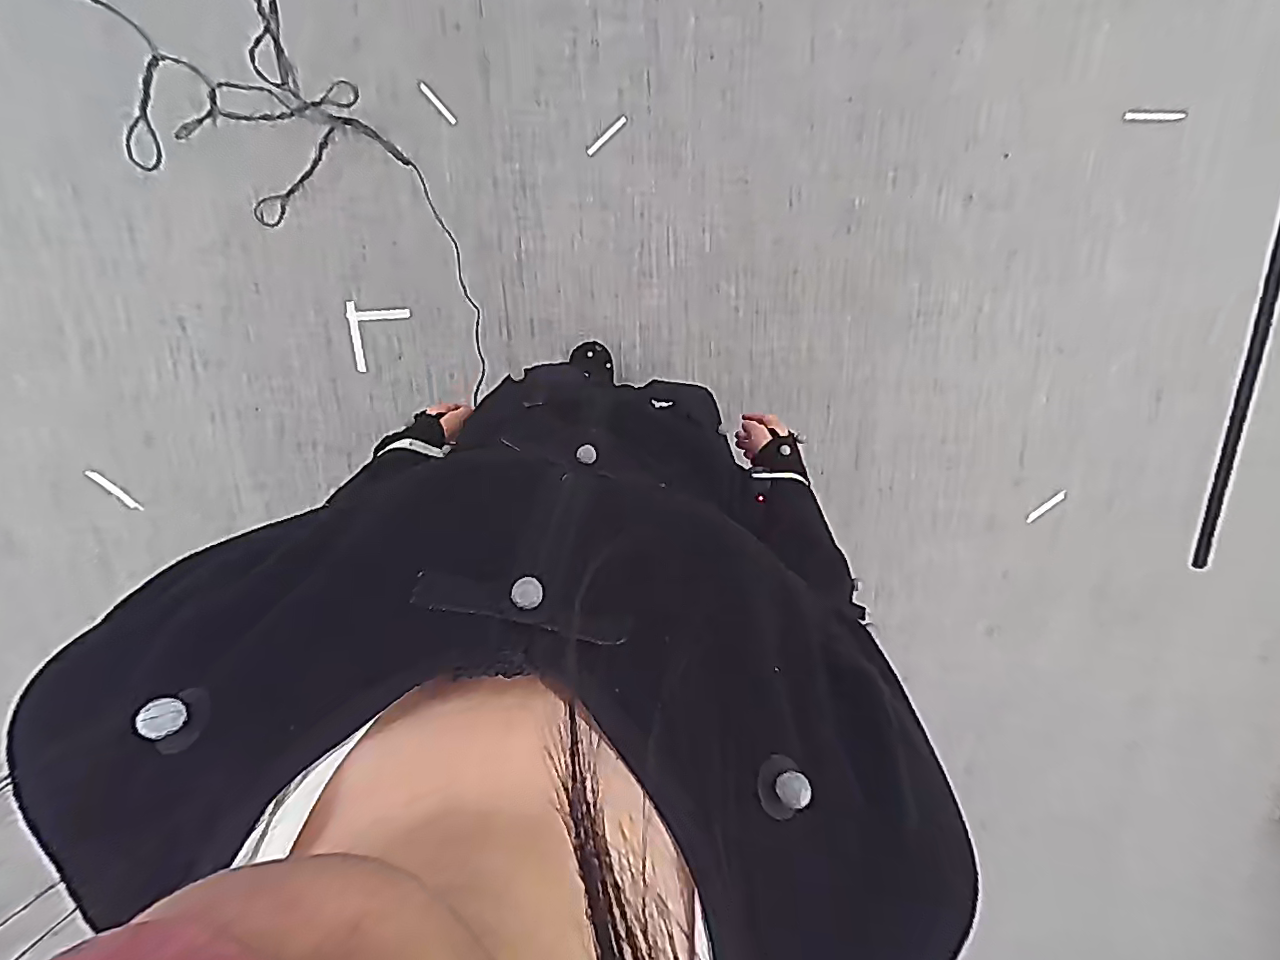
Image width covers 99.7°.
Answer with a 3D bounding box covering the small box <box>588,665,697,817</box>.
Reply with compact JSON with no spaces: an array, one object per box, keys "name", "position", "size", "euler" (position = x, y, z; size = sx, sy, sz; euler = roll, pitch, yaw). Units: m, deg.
[{"name":"small box","position":[-0.002,0.435,0.922],"size":[0.168,0.176,0.179],"euler":[2,104,-3]}]
